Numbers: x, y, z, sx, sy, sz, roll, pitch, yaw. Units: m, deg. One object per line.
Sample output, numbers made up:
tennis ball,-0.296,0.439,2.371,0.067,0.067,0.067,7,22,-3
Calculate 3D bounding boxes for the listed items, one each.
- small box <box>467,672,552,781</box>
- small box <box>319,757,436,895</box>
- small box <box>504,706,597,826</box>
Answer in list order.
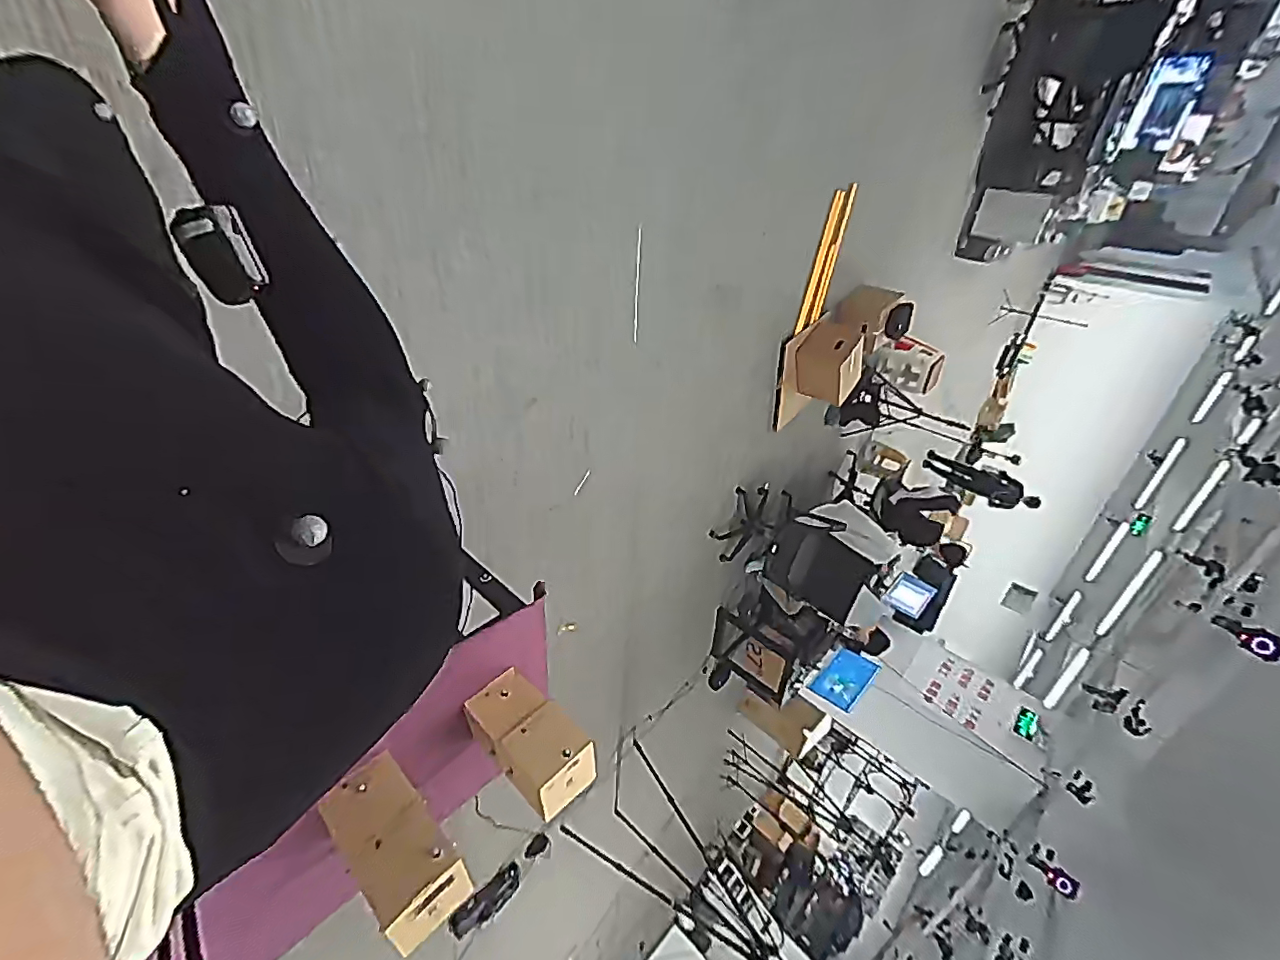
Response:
small box,-0.344,0.663,1.470,0.168,0.176,0.179,-32,135,-35
small box,-0.592,0.776,1.228,0.168,0.176,0.179,-30,135,-38
small box,-0.225,0.717,1.370,0.168,0.176,0.179,-30,135,-37
